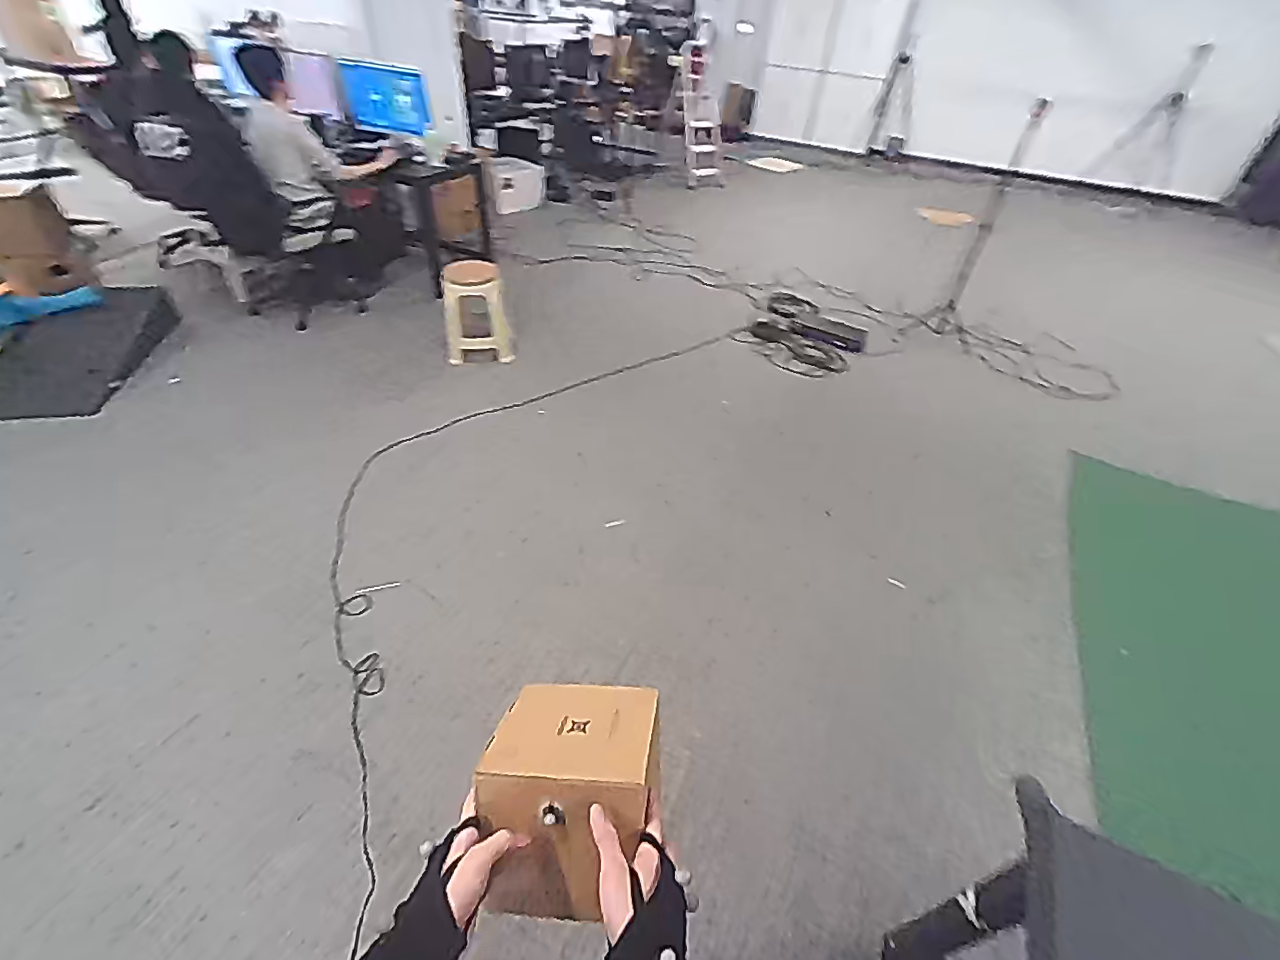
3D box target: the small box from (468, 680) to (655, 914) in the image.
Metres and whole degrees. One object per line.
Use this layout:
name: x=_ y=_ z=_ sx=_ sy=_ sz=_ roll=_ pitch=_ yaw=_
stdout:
small box: x=-0.077 y=0.353 z=0.622 sx=0.179 sy=0.176 sz=0.168 roll=0 pitch=10 yaw=7
